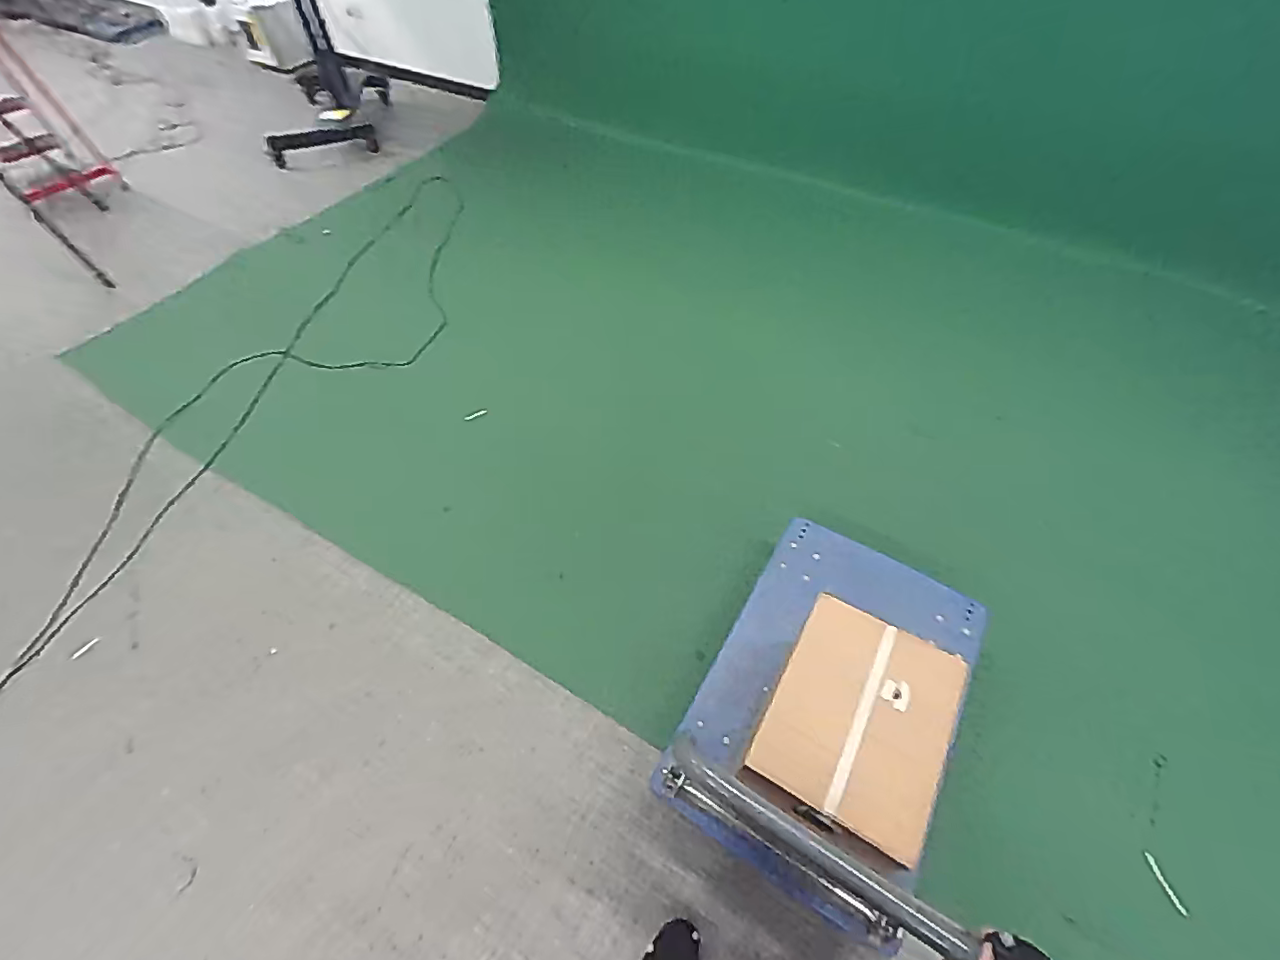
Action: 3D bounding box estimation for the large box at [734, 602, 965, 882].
[{"bbox_3d":[0.433,0.556,1.160,0.320,0.320,0.408,26,57,19],"label":"large box"}]
